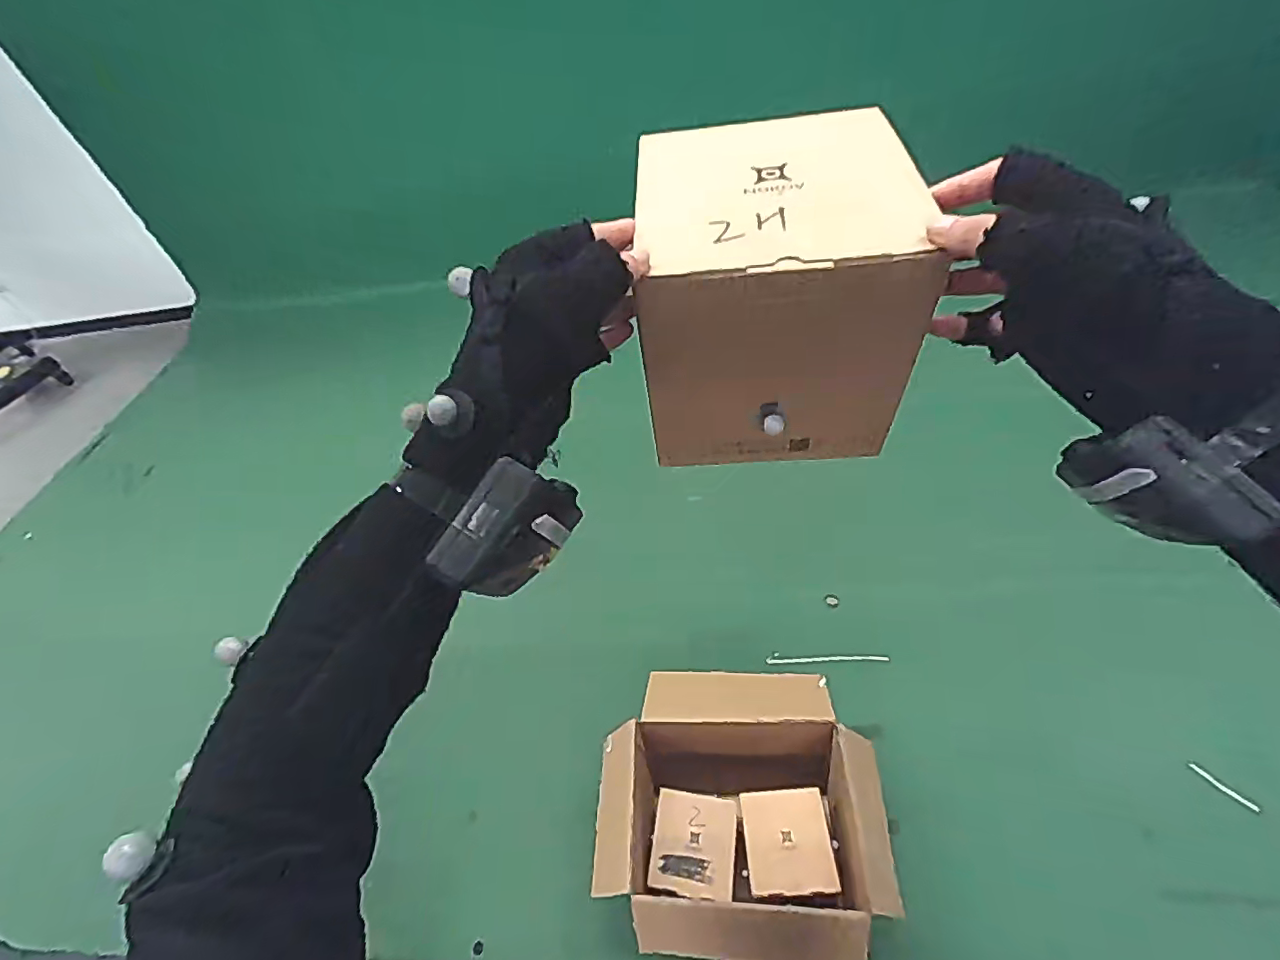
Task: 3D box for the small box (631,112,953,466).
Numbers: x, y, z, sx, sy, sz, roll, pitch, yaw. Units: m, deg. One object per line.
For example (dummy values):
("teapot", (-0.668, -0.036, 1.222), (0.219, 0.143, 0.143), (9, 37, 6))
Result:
("small box", (0.087, -0.130, 0.391), (0.168, 0.176, 0.179), (-3, 55, 7))
